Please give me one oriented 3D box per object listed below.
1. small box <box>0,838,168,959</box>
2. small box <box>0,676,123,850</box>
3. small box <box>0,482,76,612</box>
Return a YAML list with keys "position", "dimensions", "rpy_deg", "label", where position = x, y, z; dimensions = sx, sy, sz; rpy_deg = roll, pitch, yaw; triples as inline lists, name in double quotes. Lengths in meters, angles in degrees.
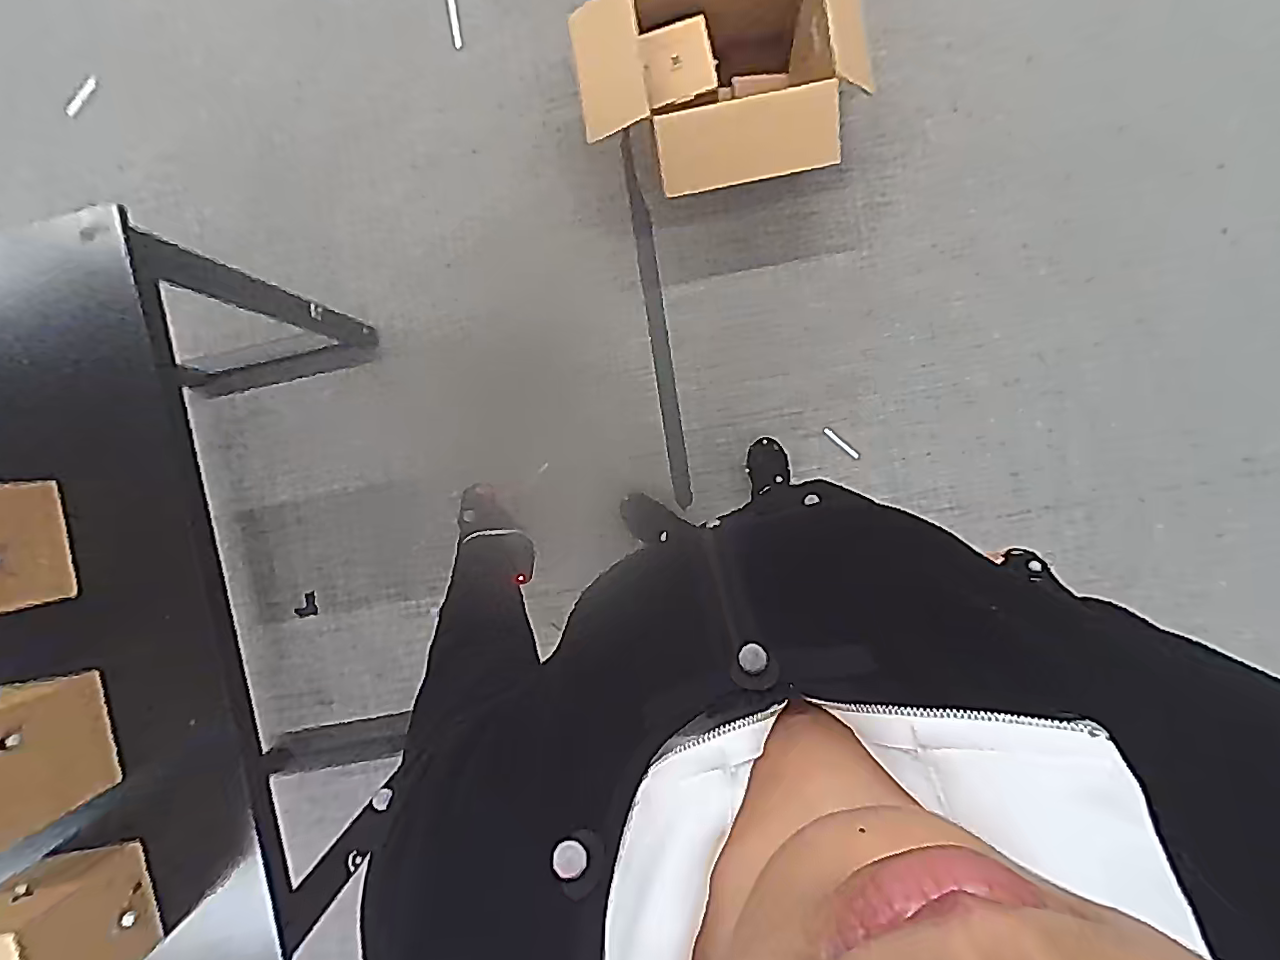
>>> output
- position: [-0.842, 0.654, 0.770]
  dimensions: [0.179, 0.176, 0.168]
  rpy_deg: [-13, 92, 3]
  label: "small box"
- position: [-0.894, 0.392, 0.759]
  dimensions: [0.168, 0.176, 0.179]
  rpy_deg: [-11, 92, 4]
  label: "small box"
- position: [-0.950, 0.105, 0.748]
  dimensions: [0.168, 0.176, 0.179]
  rpy_deg: [-9, 93, 3]
  label: "small box"
